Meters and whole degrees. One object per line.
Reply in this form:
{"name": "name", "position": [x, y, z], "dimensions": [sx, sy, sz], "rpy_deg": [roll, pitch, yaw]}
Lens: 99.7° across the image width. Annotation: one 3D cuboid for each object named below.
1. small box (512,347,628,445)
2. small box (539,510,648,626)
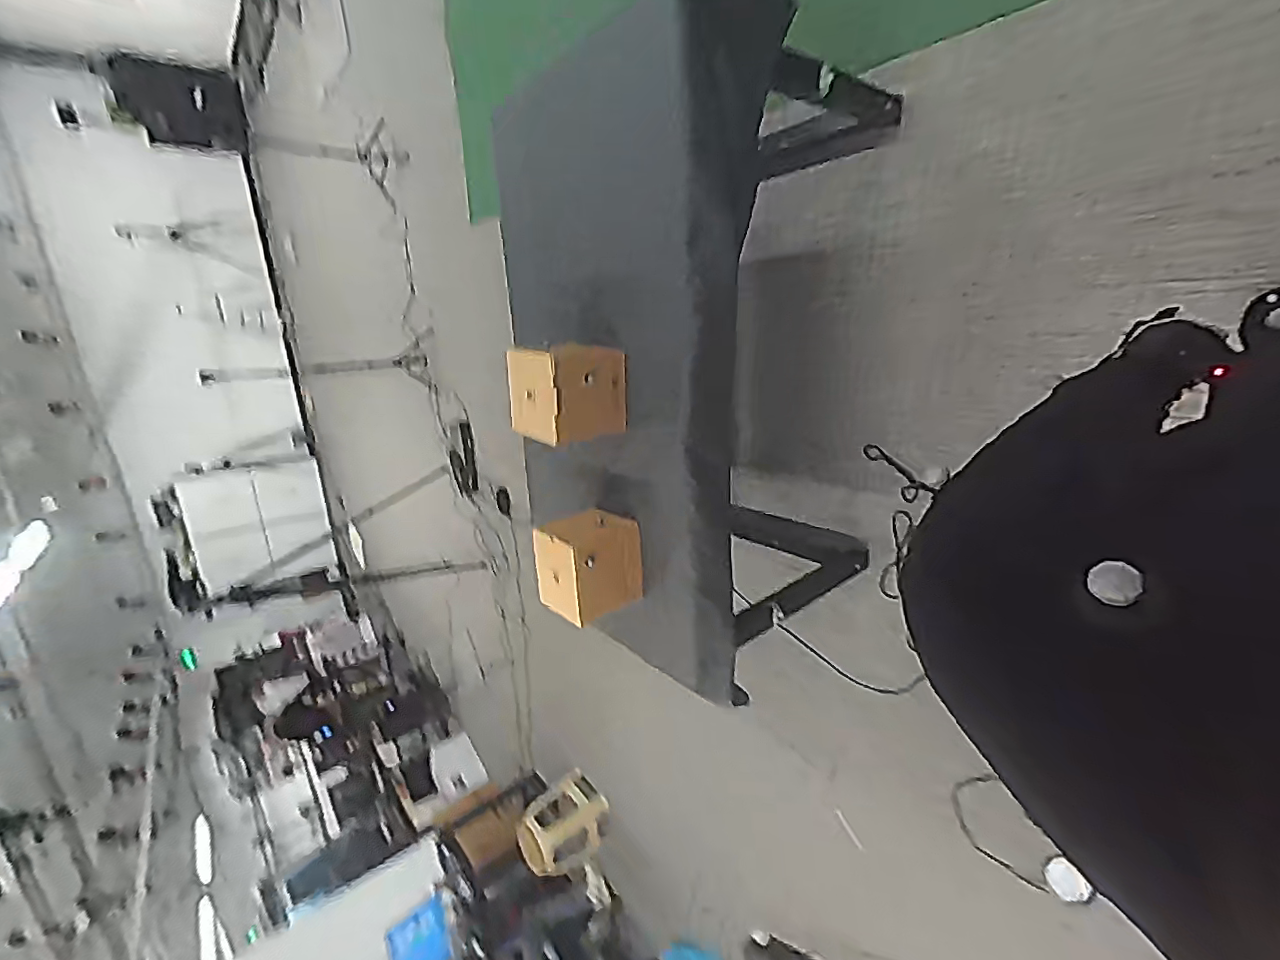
{"name": "small box", "position": [-0.135, -0.177, 1.084], "dimensions": [0.179, 0.176, 0.168], "rpy_deg": [20, 117, 48]}
{"name": "small box", "position": [-0.096, 0.180, 1.163], "dimensions": [0.168, 0.176, 0.179], "rpy_deg": [13, 112, 50]}
